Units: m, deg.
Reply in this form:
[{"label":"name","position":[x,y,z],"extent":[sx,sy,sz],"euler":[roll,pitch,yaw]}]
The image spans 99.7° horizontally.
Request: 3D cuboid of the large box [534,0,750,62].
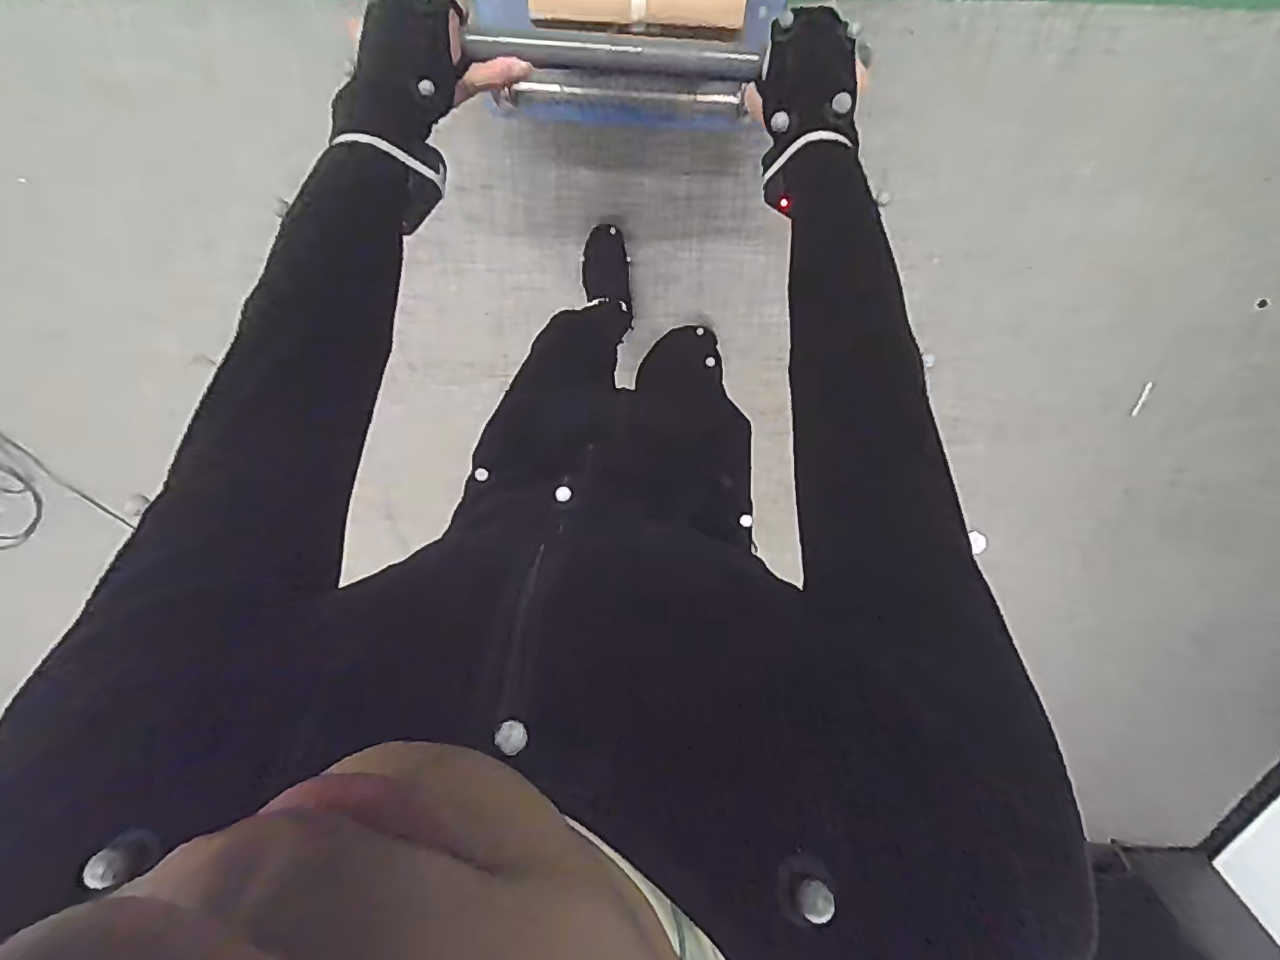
[{"label":"large box","position":[0.011,-0.906,0.812],"extent":[0.320,0.320,0.408],"euler":[2,119,-1]}]
